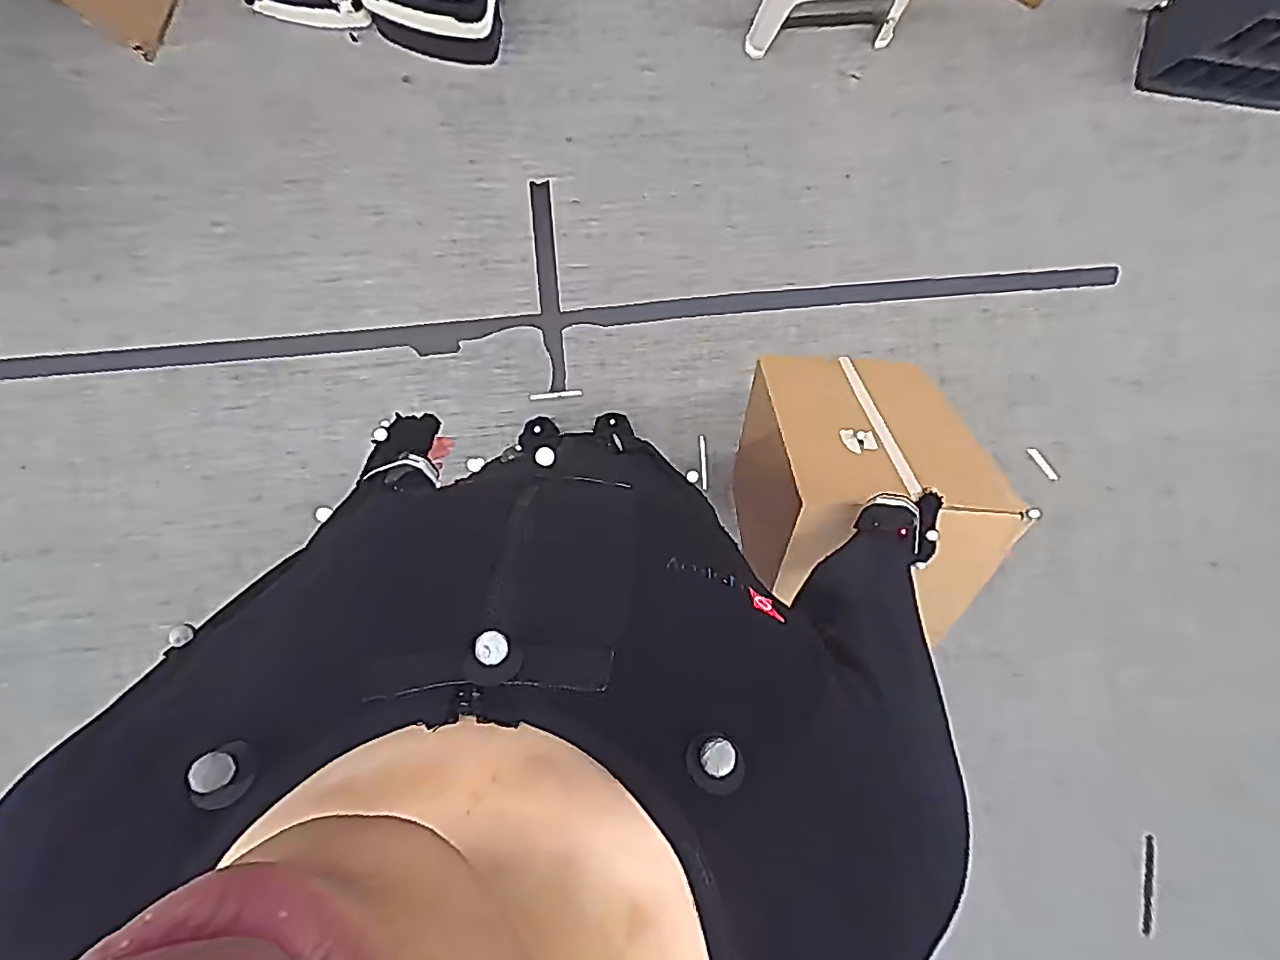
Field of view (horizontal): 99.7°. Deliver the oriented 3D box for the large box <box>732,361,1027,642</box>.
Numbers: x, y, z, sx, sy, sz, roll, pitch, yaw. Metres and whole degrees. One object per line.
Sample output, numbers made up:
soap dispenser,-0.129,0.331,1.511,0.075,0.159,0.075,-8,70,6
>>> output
large box,0.366,0.029,0.973,0.320,0.408,0.320,3,132,-1
